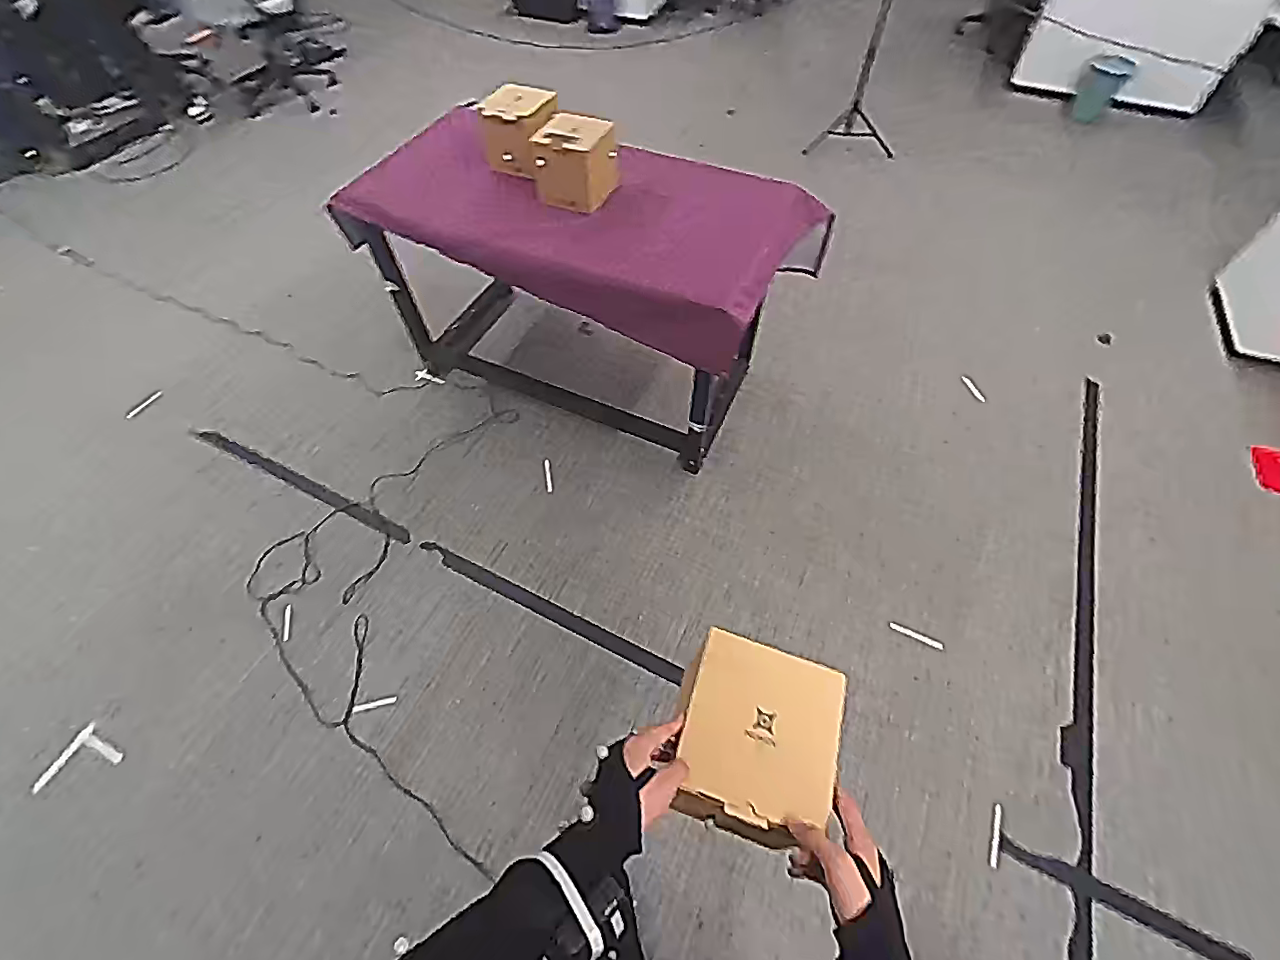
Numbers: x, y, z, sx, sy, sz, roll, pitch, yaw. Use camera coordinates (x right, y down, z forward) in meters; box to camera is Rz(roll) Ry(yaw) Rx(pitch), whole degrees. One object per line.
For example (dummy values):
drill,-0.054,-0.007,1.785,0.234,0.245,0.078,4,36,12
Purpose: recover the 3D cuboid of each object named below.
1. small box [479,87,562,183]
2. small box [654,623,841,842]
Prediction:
small box,-0.342,-1.012,1.589,0.168,0.176,0.179,20,59,14
small box,0.122,0.305,0.649,0.168,0.176,0.179,18,55,7
